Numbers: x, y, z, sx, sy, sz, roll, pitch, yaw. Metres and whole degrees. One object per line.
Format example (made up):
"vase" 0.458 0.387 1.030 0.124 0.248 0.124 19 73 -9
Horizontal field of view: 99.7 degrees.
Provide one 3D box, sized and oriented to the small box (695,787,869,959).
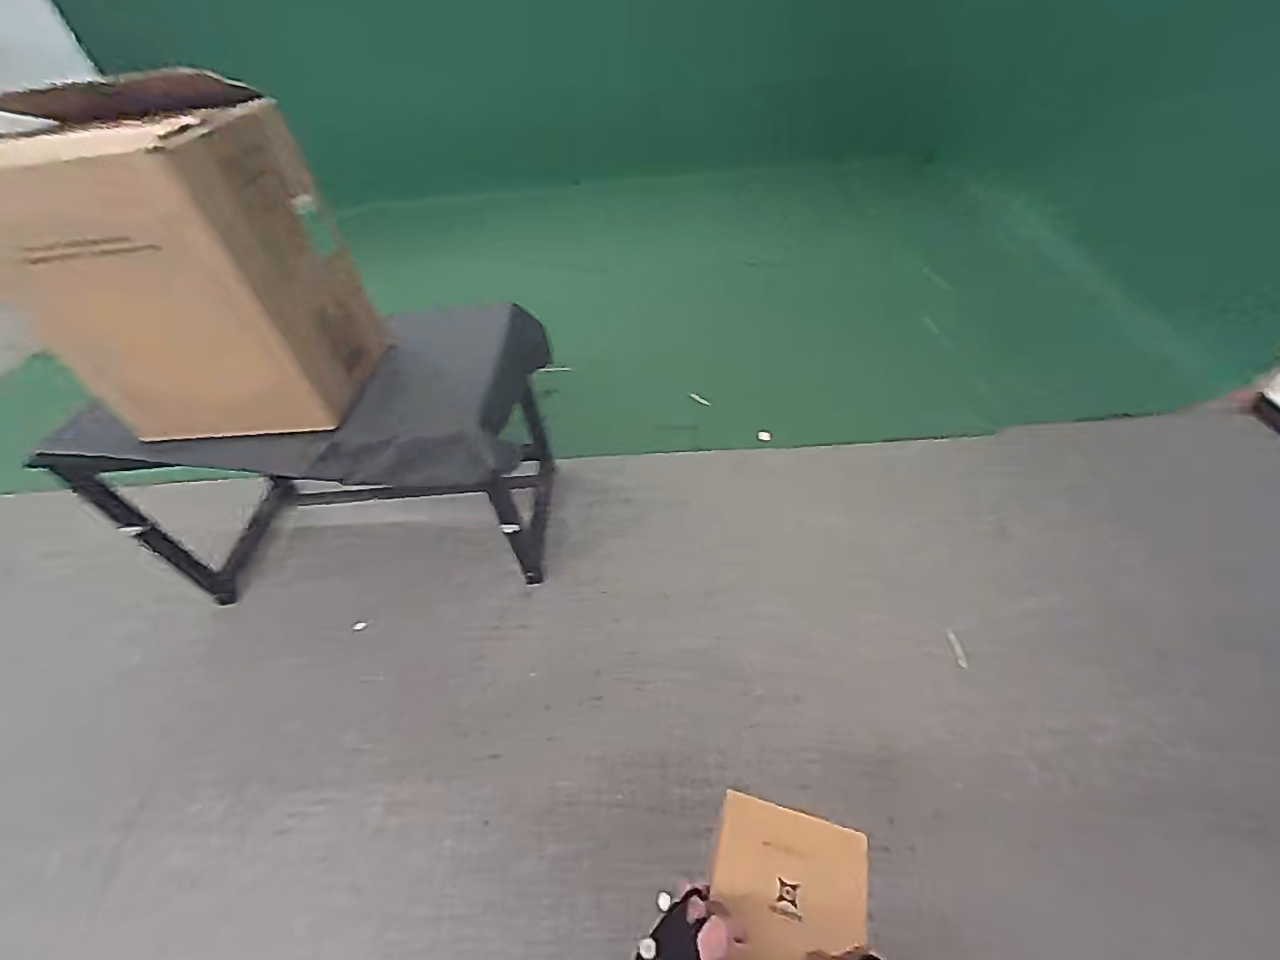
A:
"small box" 0.162 0.507 0.637 0.168 0.176 0.179 11 41 11
